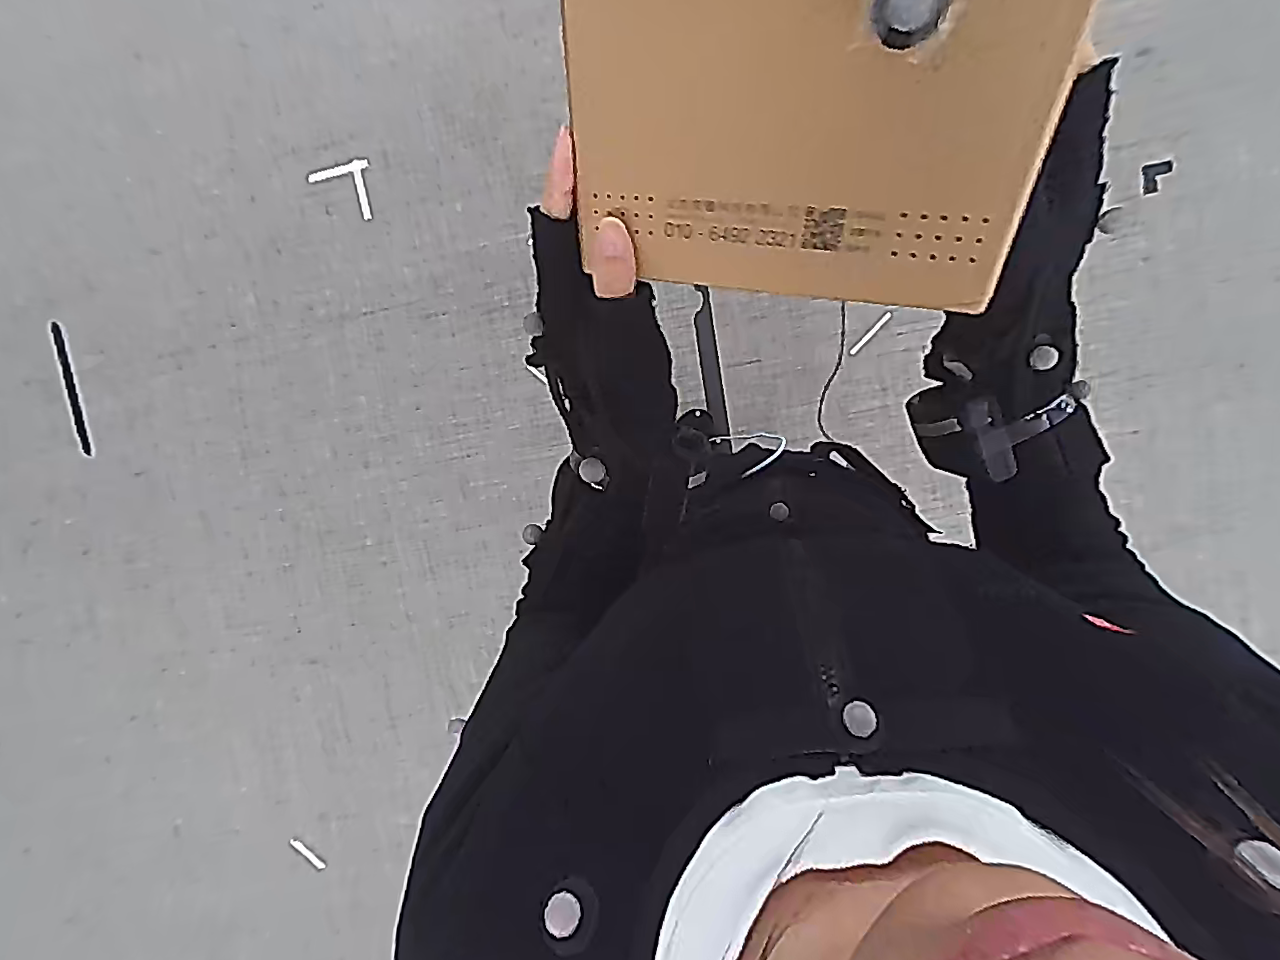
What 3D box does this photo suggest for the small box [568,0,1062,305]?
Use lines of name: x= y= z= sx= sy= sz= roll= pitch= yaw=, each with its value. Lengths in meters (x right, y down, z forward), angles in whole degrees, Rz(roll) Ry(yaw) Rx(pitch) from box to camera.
small box: x=0.080 y=-0.191 z=0.241 sx=0.168 sy=0.179 sz=0.176 roll=15 pitch=130 yaw=21
